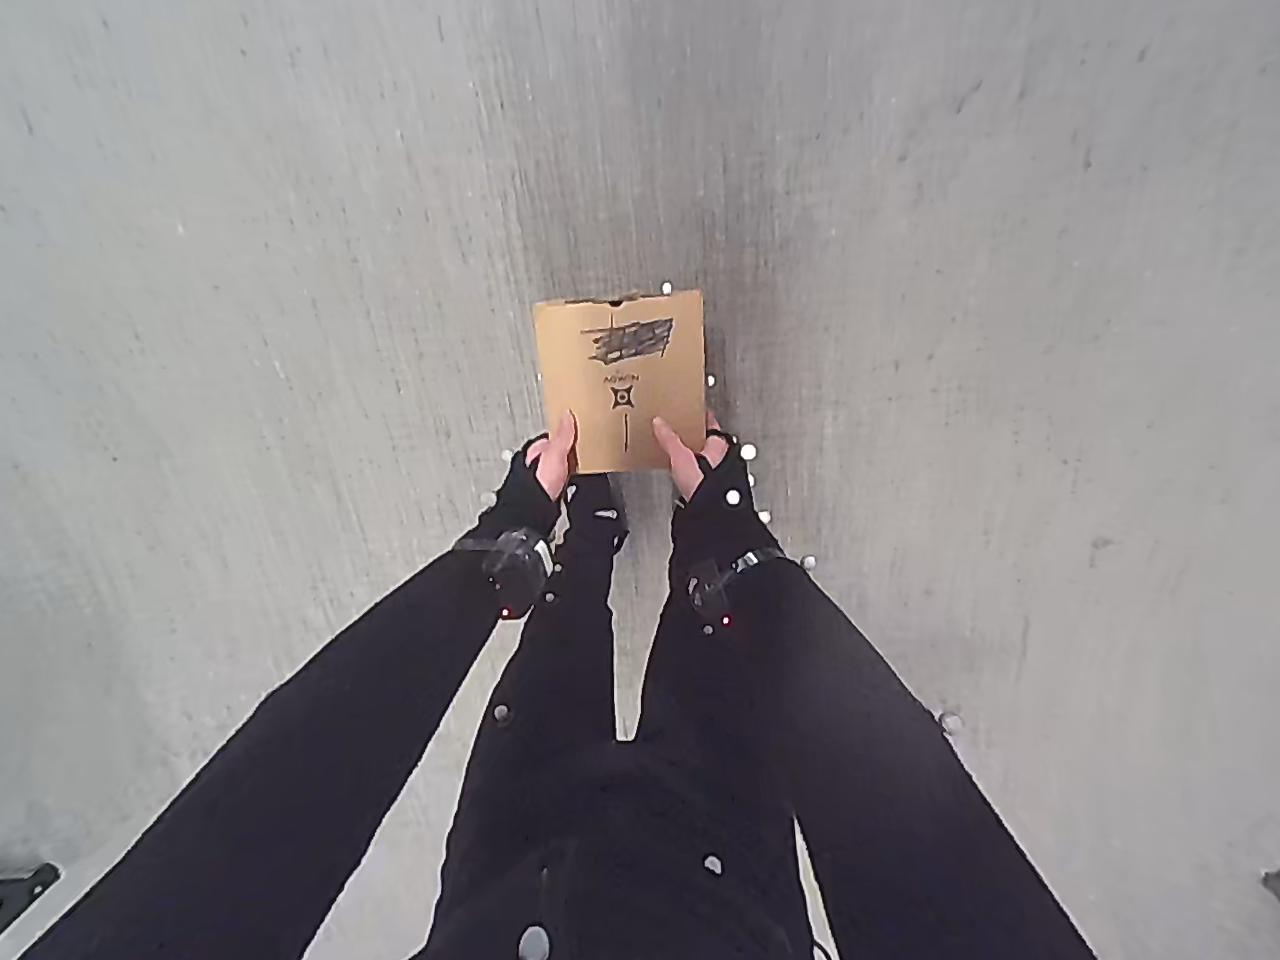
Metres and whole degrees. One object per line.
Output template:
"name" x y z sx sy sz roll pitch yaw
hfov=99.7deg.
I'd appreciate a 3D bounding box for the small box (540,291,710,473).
"small box" -0.009 -0.116 0.623 0.168 0.176 0.179 -3 107 4
